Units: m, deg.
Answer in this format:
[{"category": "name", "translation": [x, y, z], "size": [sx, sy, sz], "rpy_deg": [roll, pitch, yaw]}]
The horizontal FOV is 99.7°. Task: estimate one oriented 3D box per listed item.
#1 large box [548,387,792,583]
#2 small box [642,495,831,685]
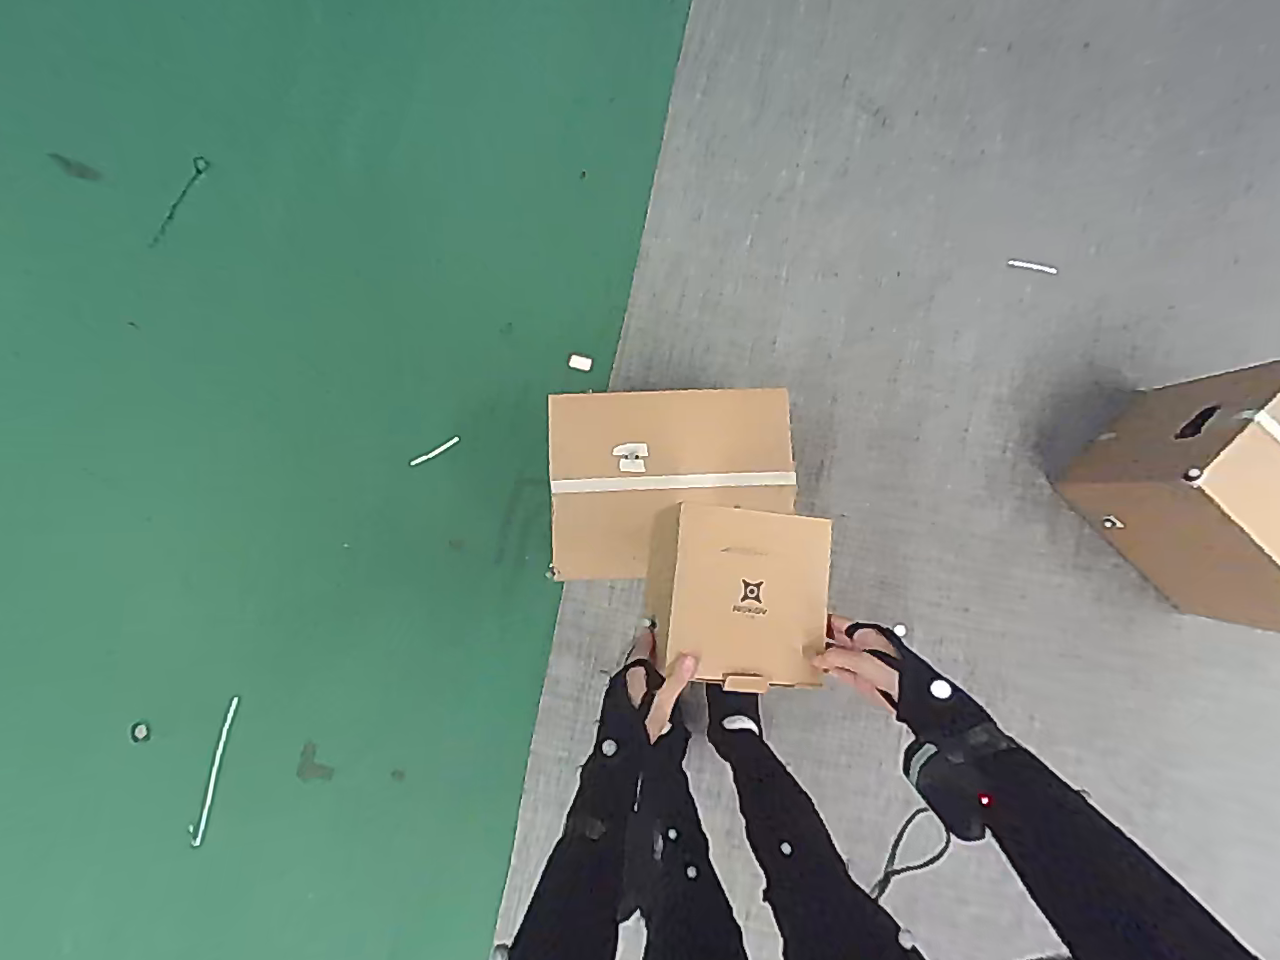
[{"category": "large box", "translation": [0.055, 0.015, 1.043], "size": [0.408, 0.320, 0.320], "rpy_deg": [-2, 86, 1]}, {"category": "small box", "translation": [0.100, 0.120, 0.624], "size": [0.168, 0.176, 0.179], "rpy_deg": [8, 81, -7]}]
